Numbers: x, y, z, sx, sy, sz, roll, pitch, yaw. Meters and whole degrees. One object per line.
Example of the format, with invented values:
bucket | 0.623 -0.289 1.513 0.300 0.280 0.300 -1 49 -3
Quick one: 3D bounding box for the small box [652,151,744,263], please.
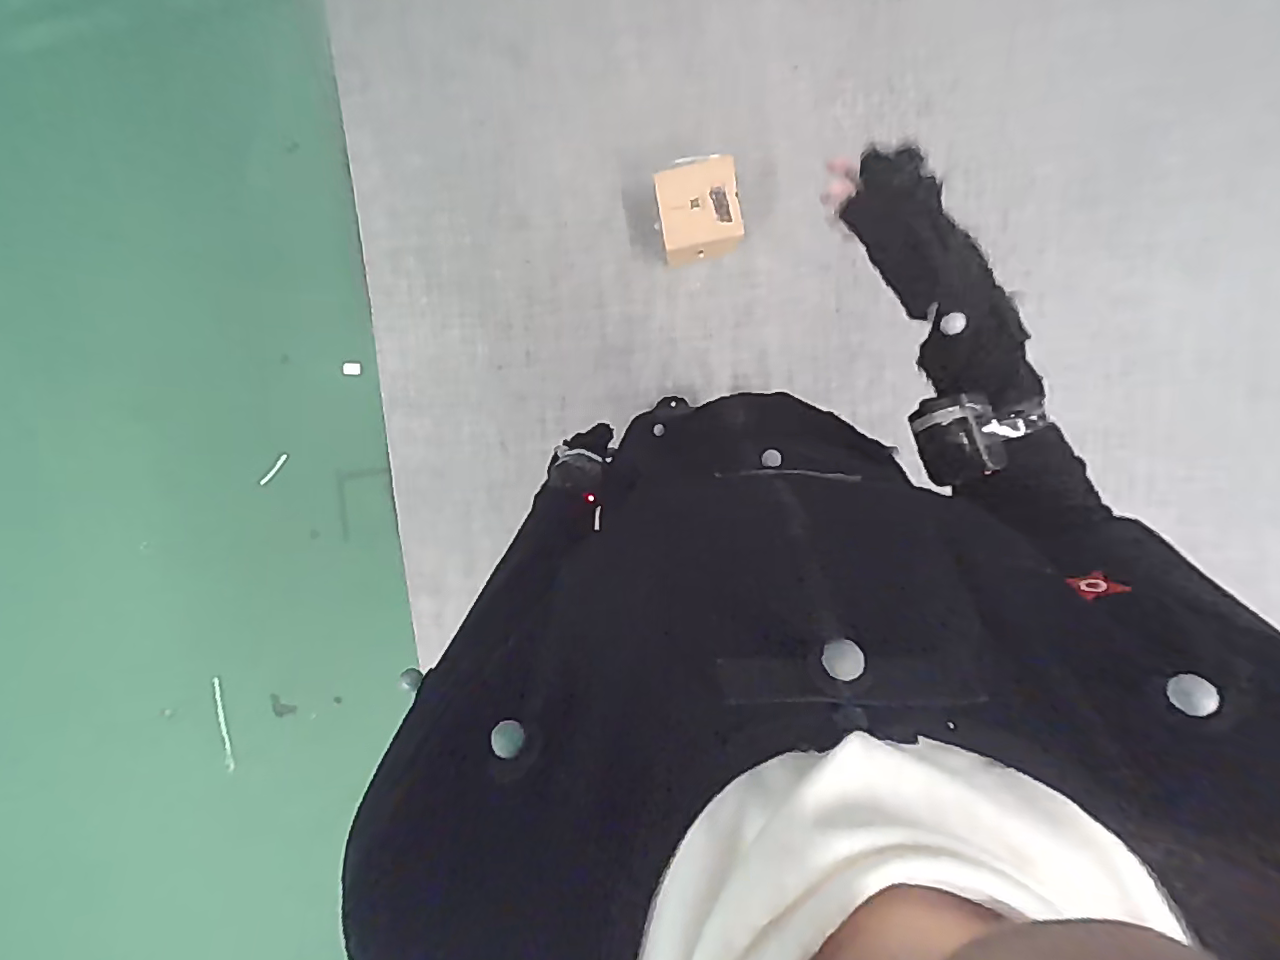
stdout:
small box | 0.130 -0.622 1.252 0.179 0.176 0.168 -13 98 6
